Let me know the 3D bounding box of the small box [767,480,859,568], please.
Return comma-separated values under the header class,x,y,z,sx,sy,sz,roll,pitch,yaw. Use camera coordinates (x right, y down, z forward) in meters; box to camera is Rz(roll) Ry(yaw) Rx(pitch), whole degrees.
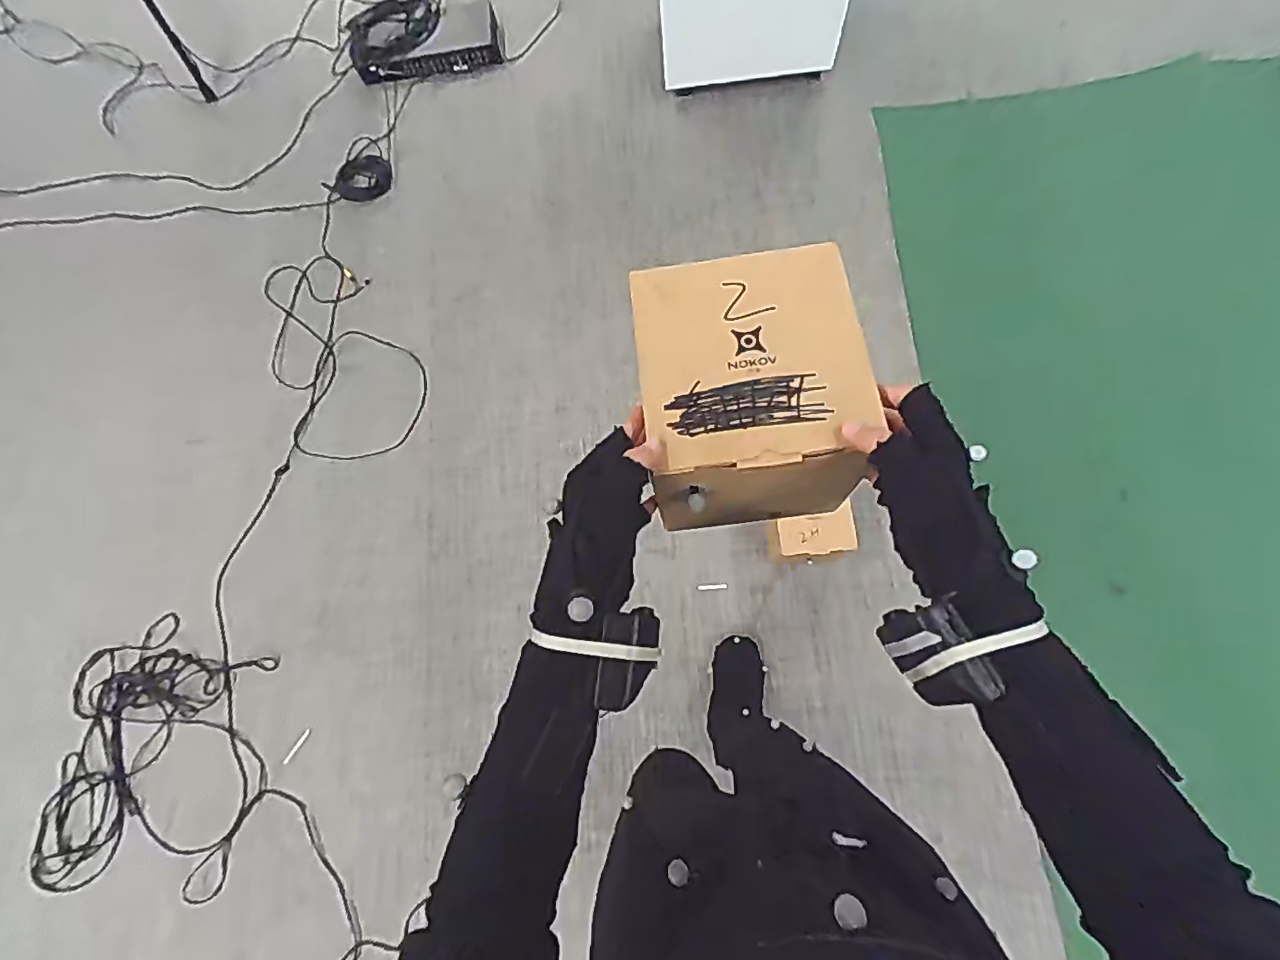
class,x,y,z,sx,sy,sz,roll,pitch,yaw
small box,0.401,0.109,1.280,0.168,0.176,0.179,-5,75,5
